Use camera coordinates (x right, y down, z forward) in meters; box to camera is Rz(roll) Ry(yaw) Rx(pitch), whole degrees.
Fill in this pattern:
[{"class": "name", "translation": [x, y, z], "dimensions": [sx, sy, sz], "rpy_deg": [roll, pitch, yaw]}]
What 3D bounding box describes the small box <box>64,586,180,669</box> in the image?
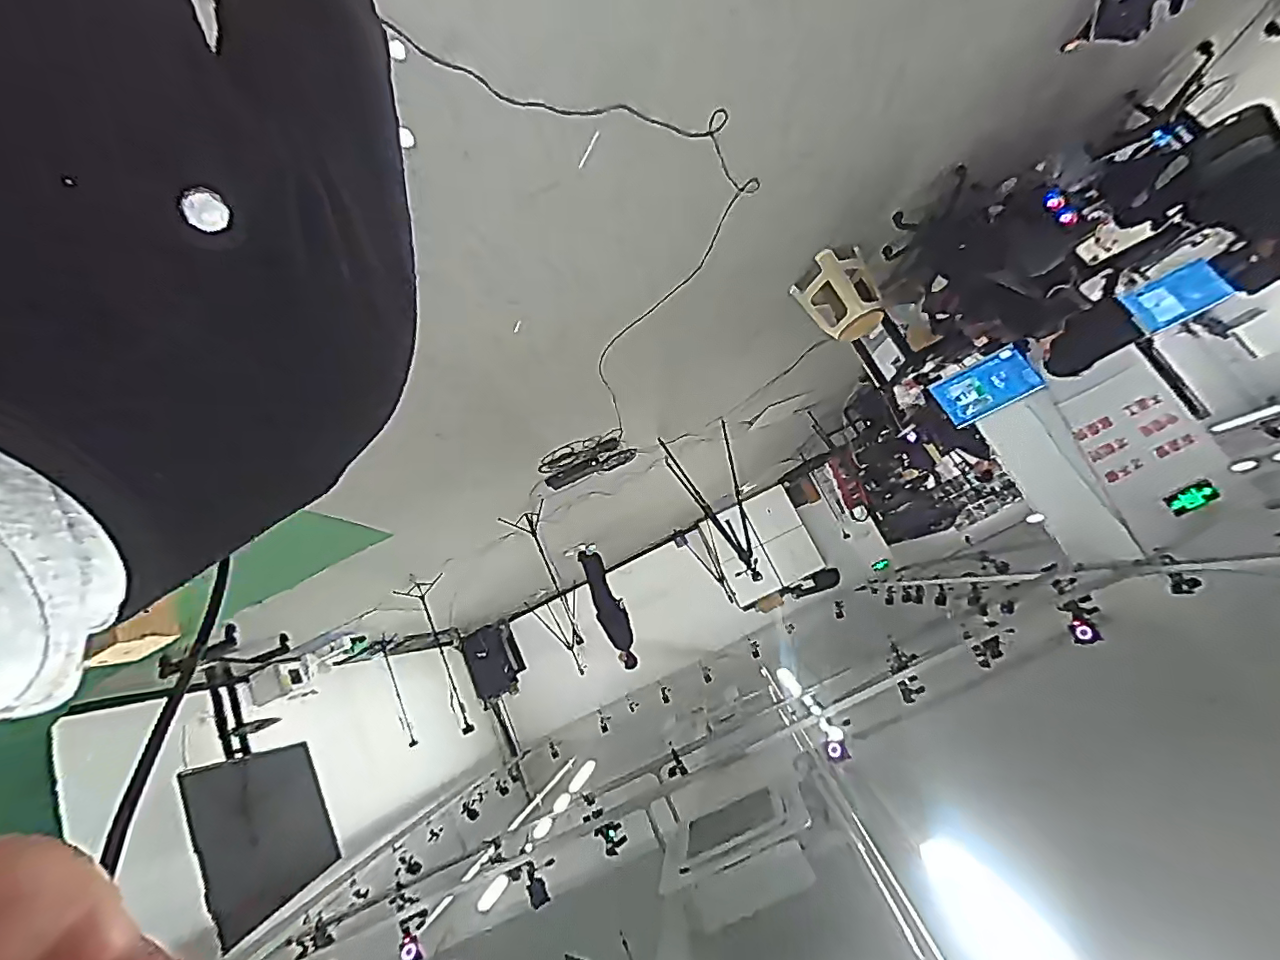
[{"class": "small box", "translation": [-1.485, 0.412, 1.547], "dimensions": [0.179, 0.176, 0.168], "rpy_deg": [-28, 165, 6]}]
